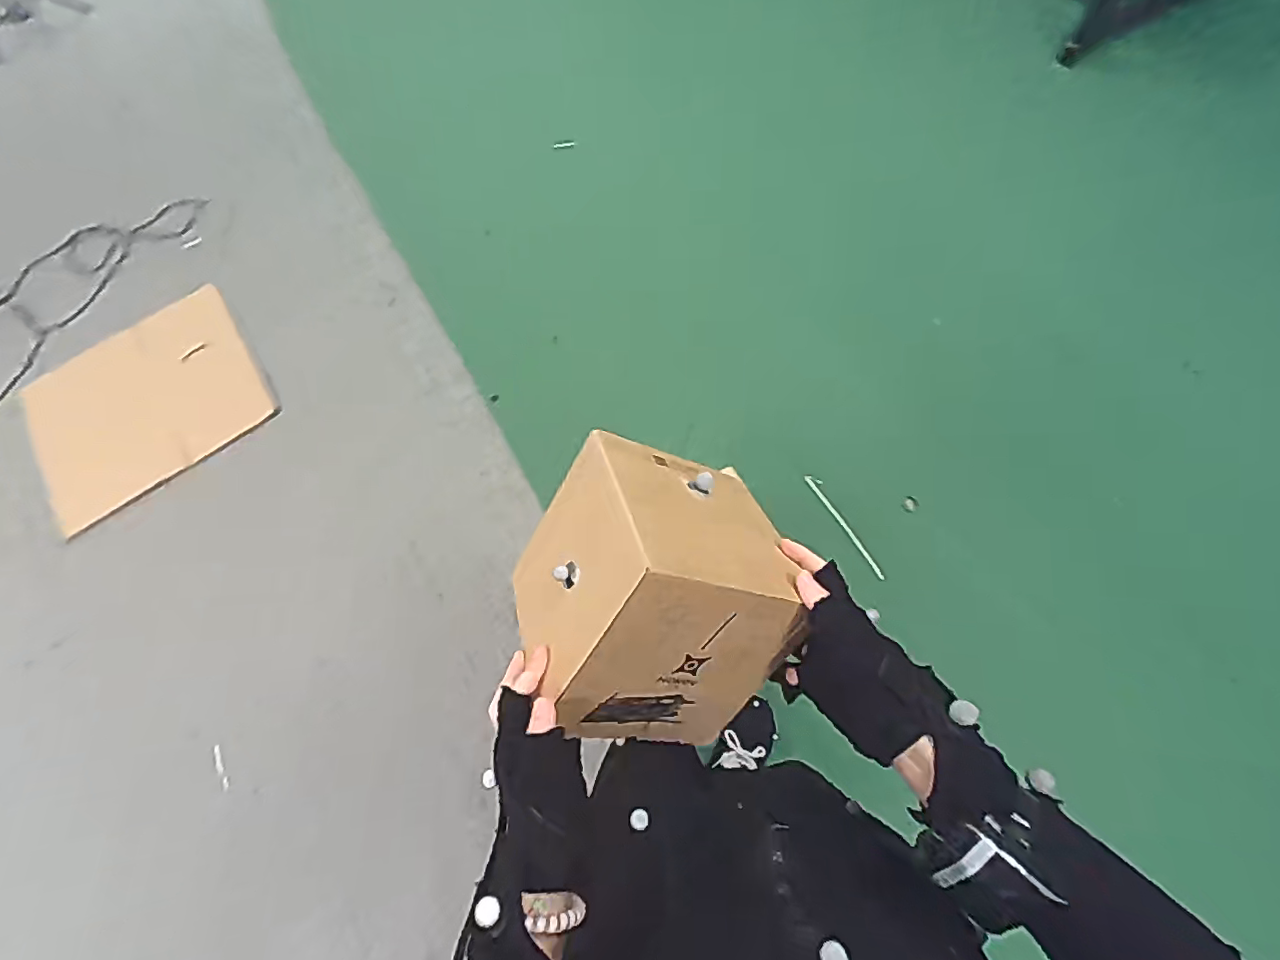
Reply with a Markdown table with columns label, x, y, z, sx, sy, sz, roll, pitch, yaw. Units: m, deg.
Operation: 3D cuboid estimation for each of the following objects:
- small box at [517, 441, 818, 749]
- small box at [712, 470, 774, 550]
| label | x | y | z | sx | sy | sz | roll | pitch | yaw |
| --- | --- | --- | --- | --- | --- | --- | --- | --- | --- |
| small box | 0.004 | 0.097 | 0.457 | 0.179 | 0.168 | 0.176 | -60 | 31 | 22 |
| small box | 0.167 | 0.110 | 1.178 | 0.168 | 0.176 | 0.179 | -26 | 71 | -4 |
